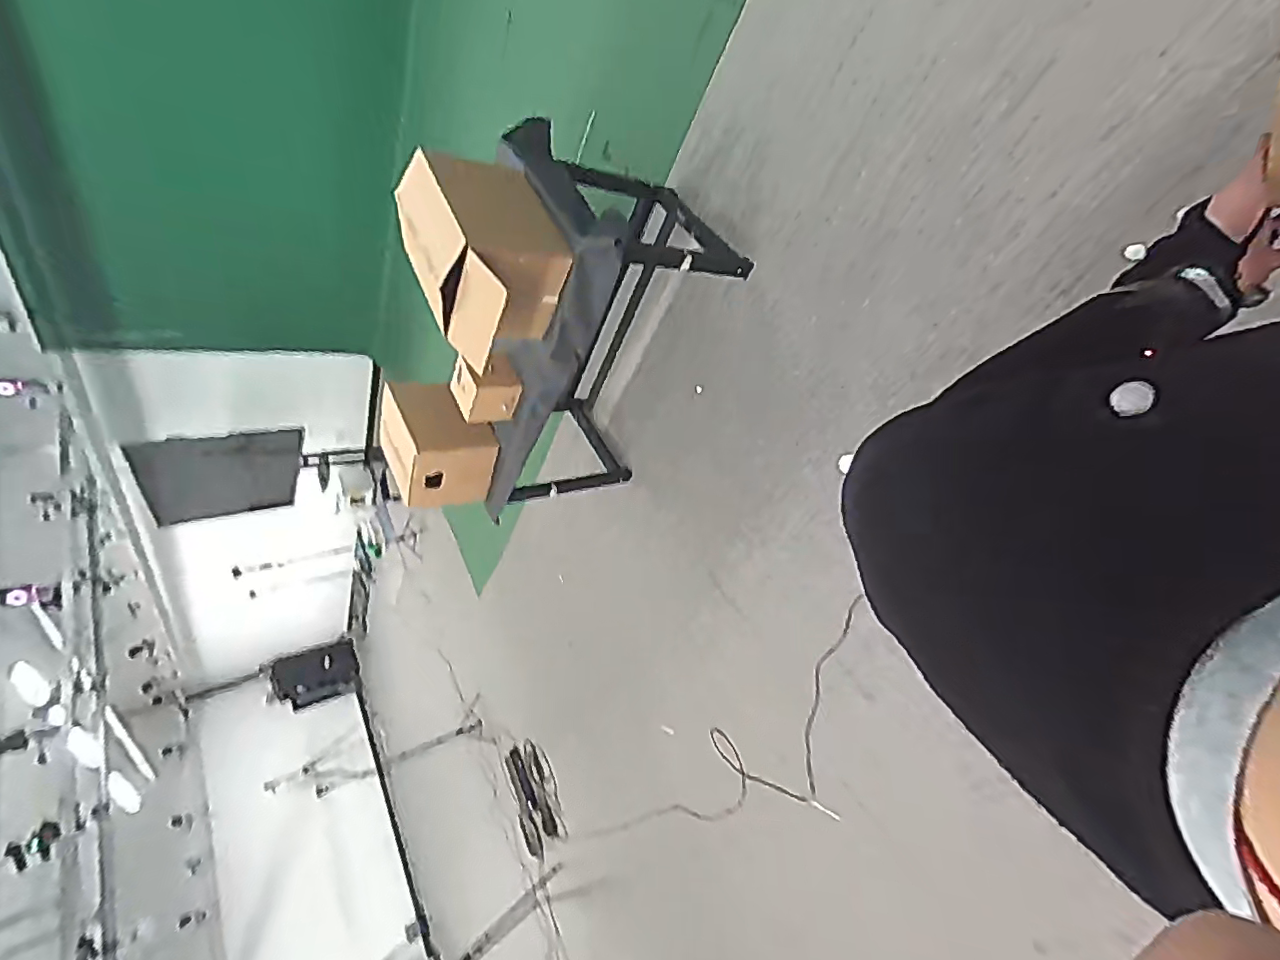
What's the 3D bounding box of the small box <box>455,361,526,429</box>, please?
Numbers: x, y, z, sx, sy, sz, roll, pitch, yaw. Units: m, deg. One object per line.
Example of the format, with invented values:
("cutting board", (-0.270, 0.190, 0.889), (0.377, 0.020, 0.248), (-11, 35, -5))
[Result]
("small box", (-0.523, -0.299, 1.887), (0.179, 0.176, 0.168), (58, 139, 23))
